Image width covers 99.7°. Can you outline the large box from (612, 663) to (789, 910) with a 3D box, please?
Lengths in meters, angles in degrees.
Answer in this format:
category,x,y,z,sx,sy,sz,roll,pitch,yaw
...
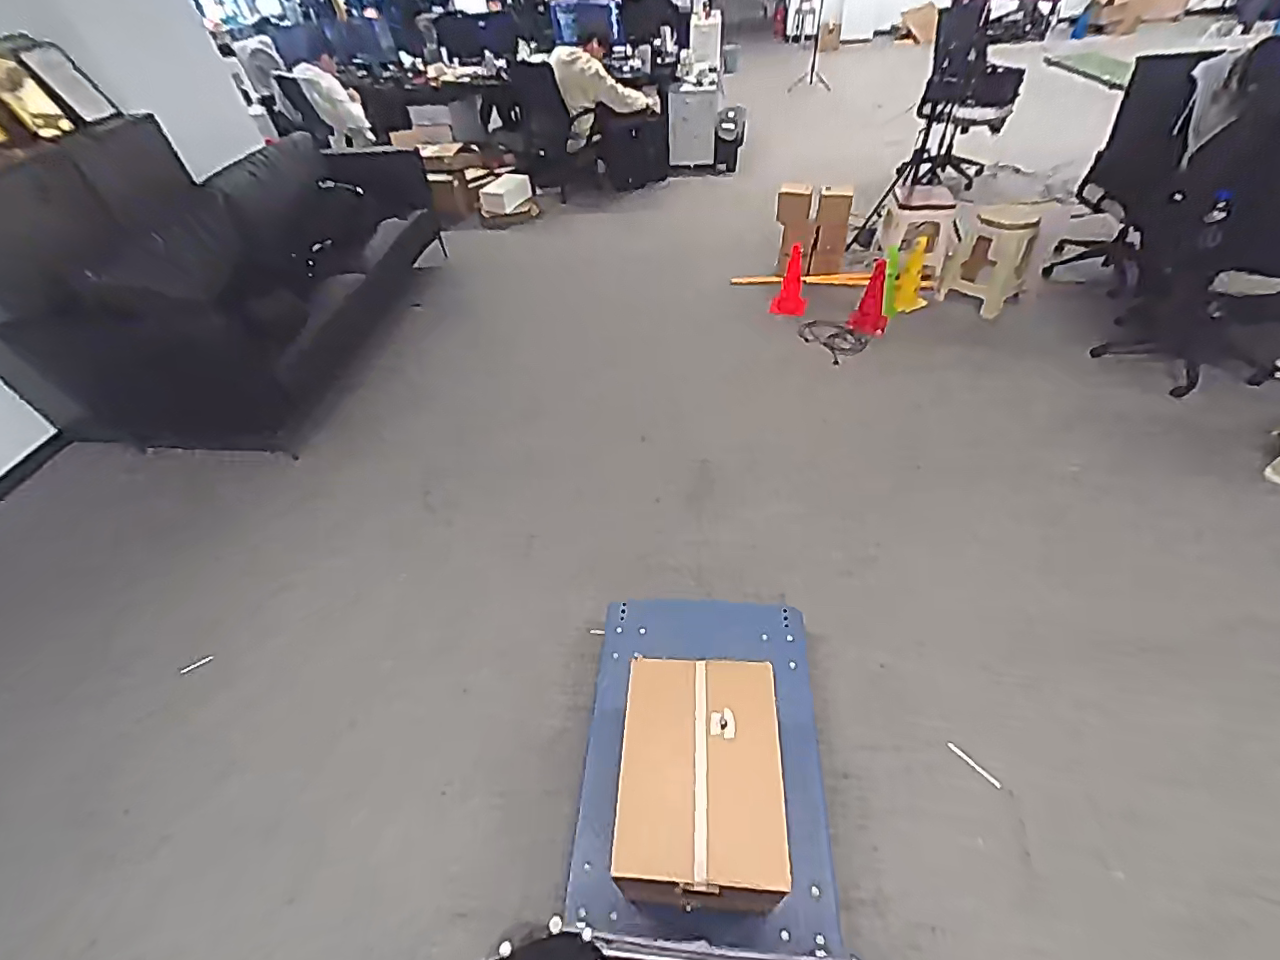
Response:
category,x,y,z,sx,sy,sz,roll,pitch,yaw
large box,0.128,0.659,1.174,0.320,0.320,0.408,0,46,6
